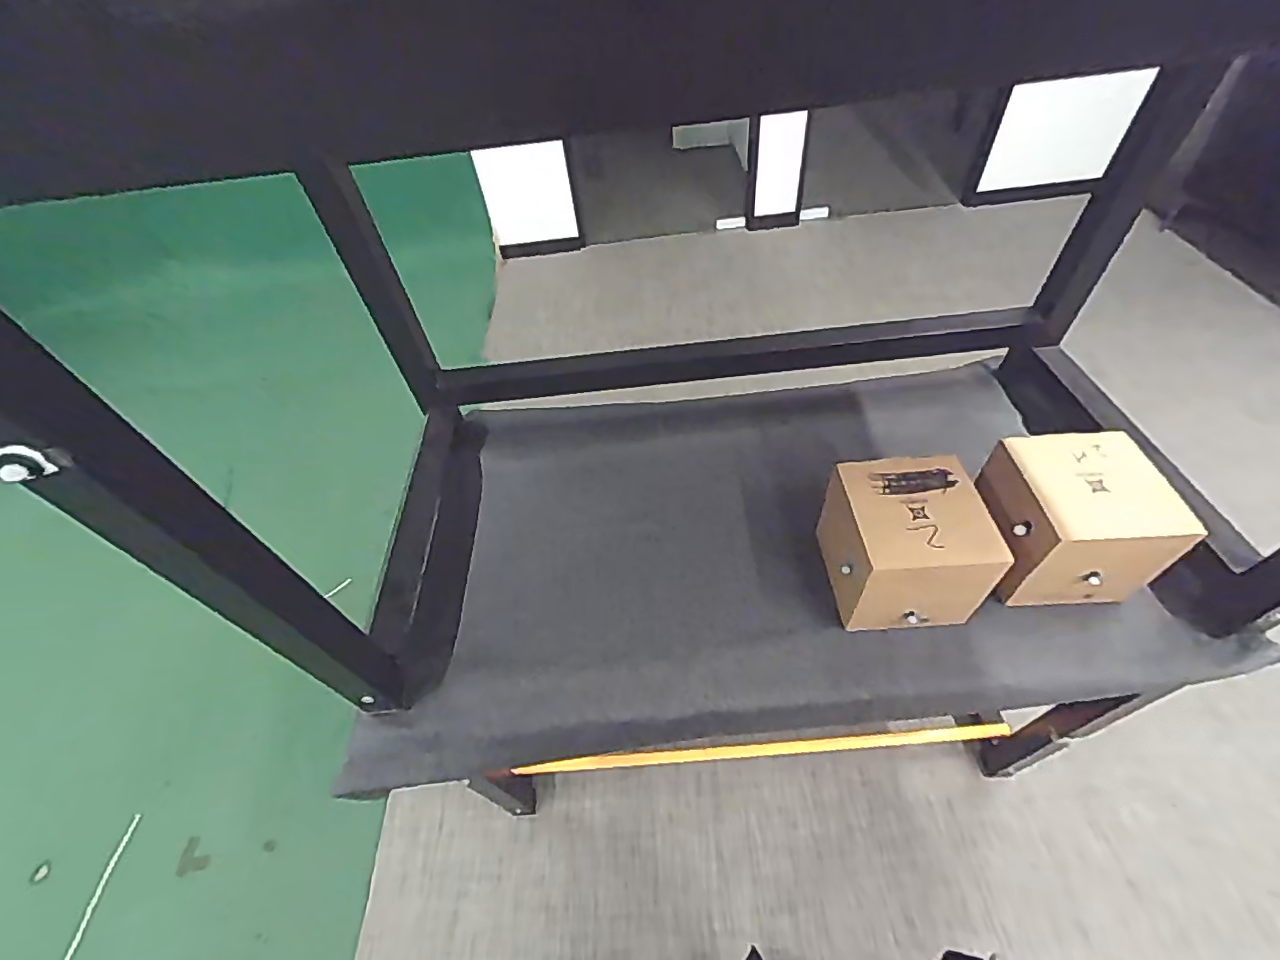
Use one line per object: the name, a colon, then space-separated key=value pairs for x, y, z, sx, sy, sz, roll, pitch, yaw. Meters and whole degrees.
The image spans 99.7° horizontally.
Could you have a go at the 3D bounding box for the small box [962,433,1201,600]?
small box: x=0.589 y=0.058 z=0.755 sx=0.168 sy=0.176 sz=0.179 roll=-3 pitch=49 yaw=4
